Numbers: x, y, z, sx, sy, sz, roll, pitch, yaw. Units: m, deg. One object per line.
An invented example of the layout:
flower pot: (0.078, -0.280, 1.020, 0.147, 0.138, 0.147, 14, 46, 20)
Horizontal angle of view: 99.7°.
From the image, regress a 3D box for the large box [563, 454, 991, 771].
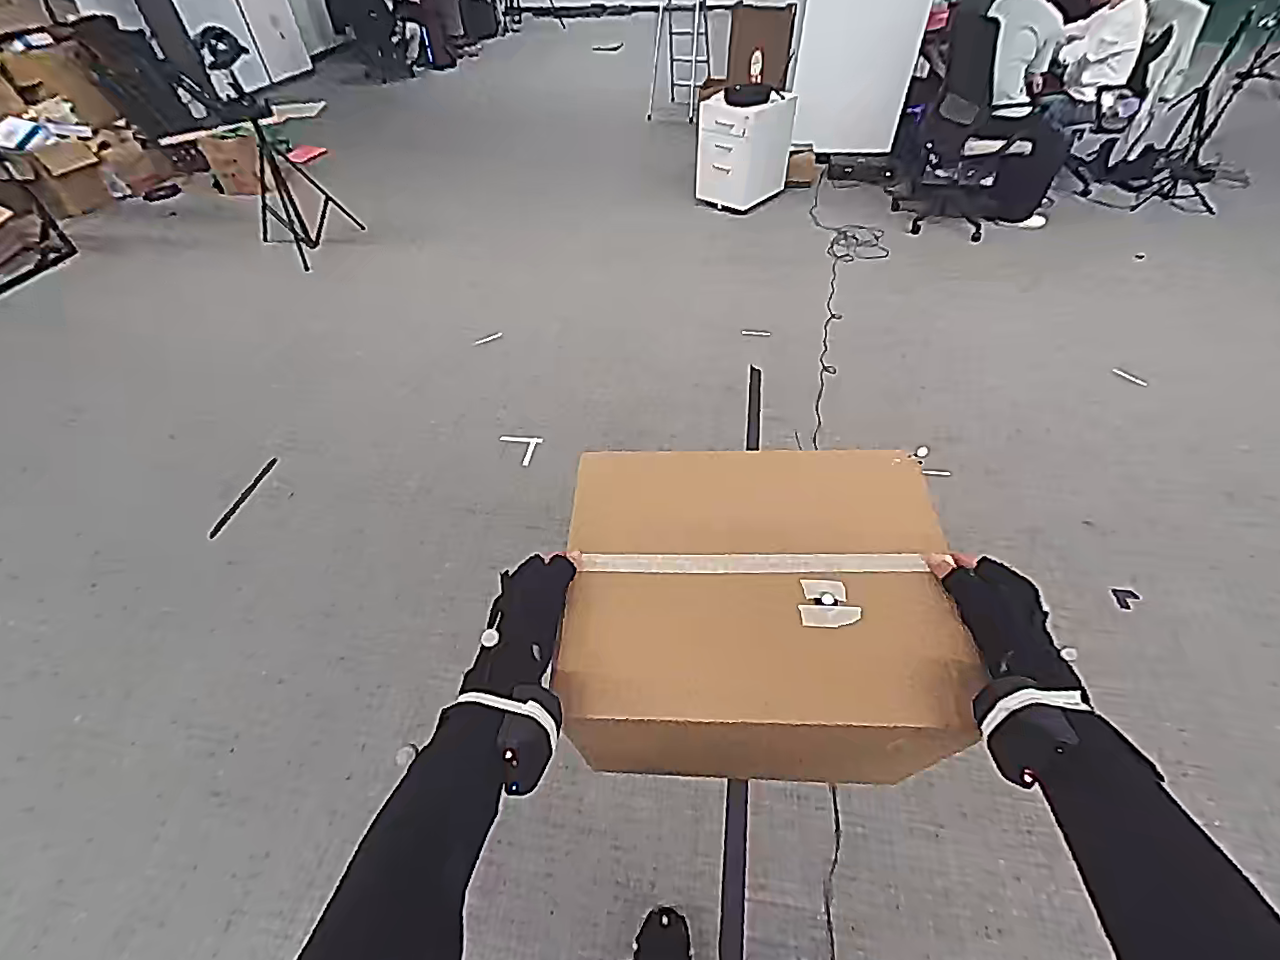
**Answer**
large box: (0.134, 0.182, 0.707, 0.408, 0.320, 0.320, 0, 54, 4)
